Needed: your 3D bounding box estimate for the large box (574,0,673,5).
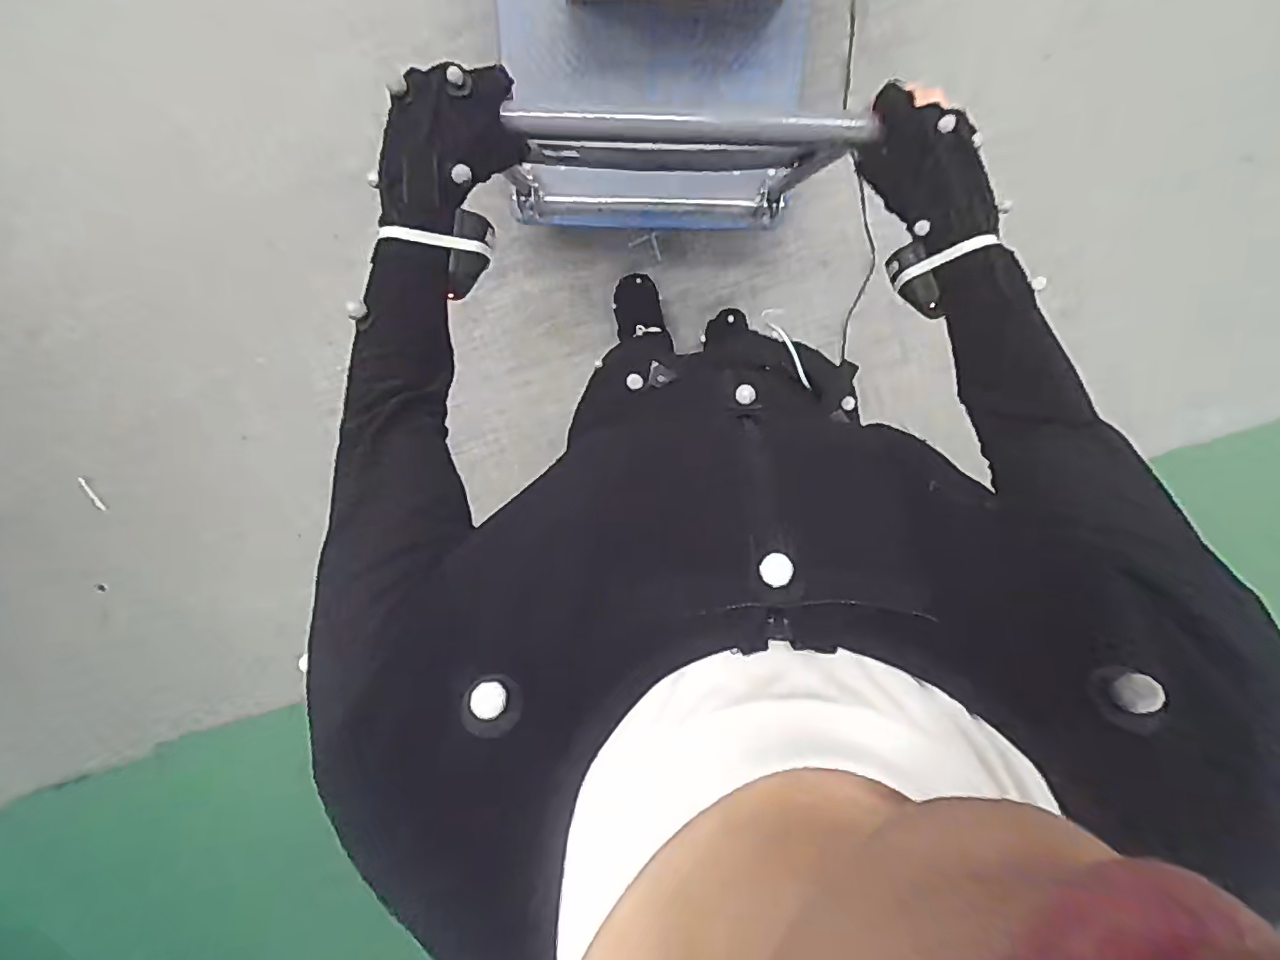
[{"bbox_3d":[0.071,-0.955,0.792,0.408,0.320,0.320,-1,112,1],"label":"large box"}]
